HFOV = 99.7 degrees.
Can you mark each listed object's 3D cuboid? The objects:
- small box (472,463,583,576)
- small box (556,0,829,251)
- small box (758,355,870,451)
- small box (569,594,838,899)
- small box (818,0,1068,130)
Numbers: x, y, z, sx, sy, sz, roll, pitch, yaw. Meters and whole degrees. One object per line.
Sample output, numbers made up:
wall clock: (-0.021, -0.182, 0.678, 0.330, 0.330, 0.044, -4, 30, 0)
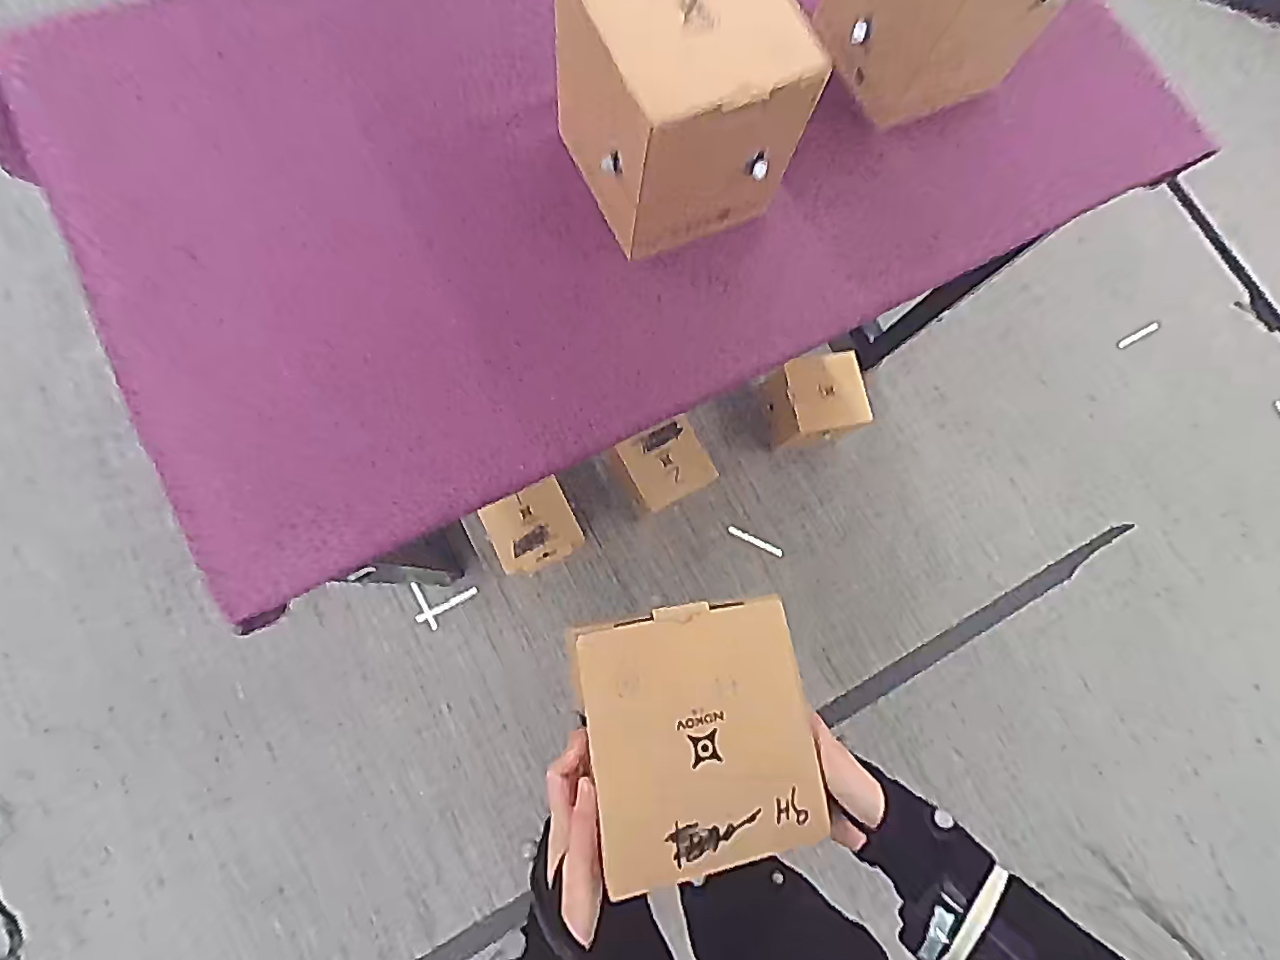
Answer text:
small box: (-0.227, 0.089, 1.131, 0.168, 0.176, 0.179, -25, 81, -11)
small box: (0.034, -0.343, 0.503, 0.168, 0.176, 0.179, -25, 80, -12)
small box: (0.398, -0.175, 1.263, 0.179, 0.176, 0.168, -10, 80, -8)
small box: (0.034, 0.200, 0.460, 0.168, 0.176, 0.179, -6, 77, -12)
small box: (0.326, -0.521, 0.574, 0.179, 0.176, 0.168, -25, 82, -11)
